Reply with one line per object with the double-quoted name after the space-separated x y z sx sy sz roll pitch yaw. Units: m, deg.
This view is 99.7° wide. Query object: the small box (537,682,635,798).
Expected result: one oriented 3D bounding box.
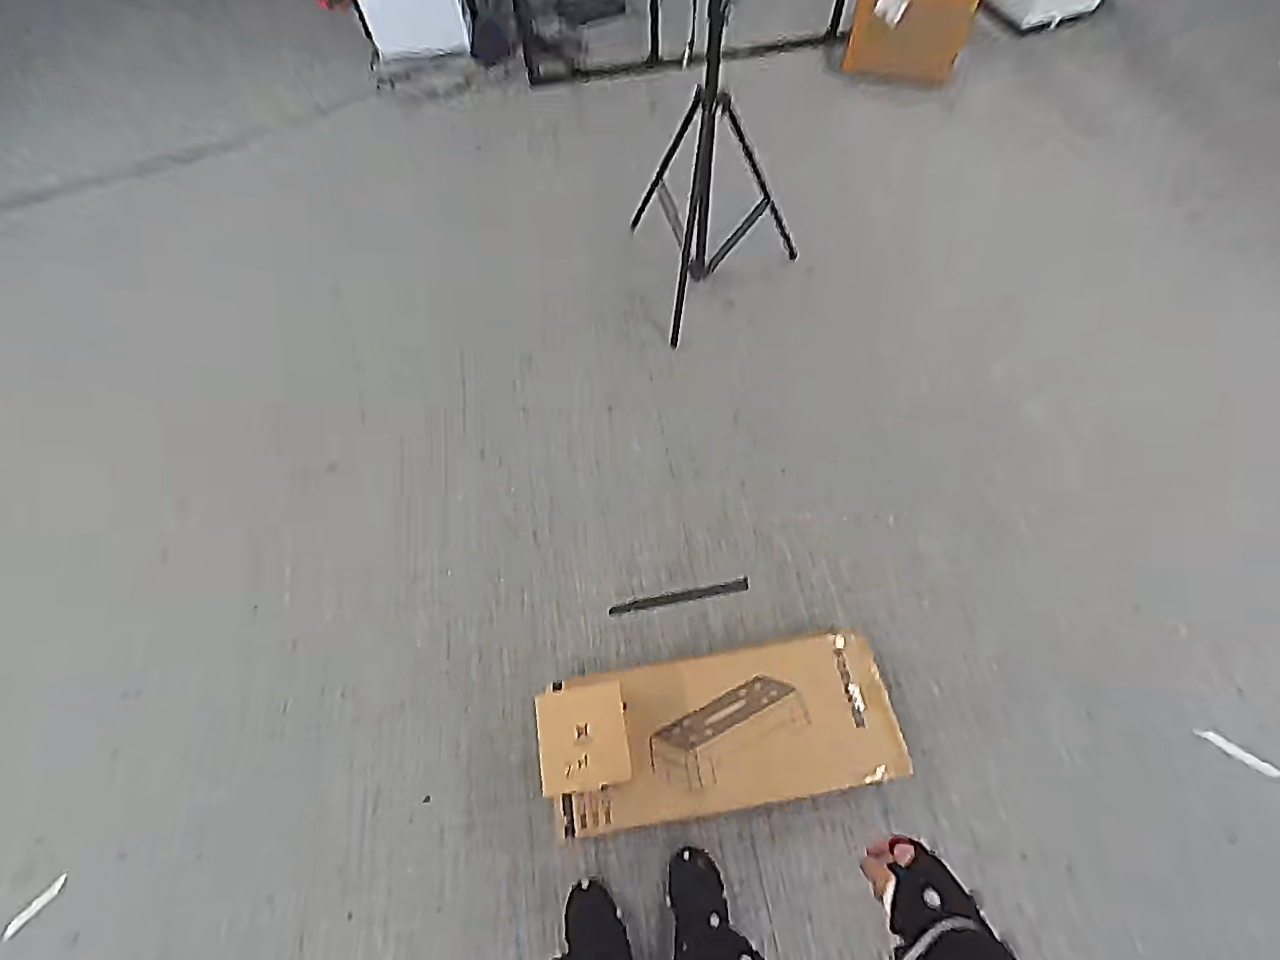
-0.105 0.519 1.076 0.168 0.176 0.179 -10 62 -3 "small box"
